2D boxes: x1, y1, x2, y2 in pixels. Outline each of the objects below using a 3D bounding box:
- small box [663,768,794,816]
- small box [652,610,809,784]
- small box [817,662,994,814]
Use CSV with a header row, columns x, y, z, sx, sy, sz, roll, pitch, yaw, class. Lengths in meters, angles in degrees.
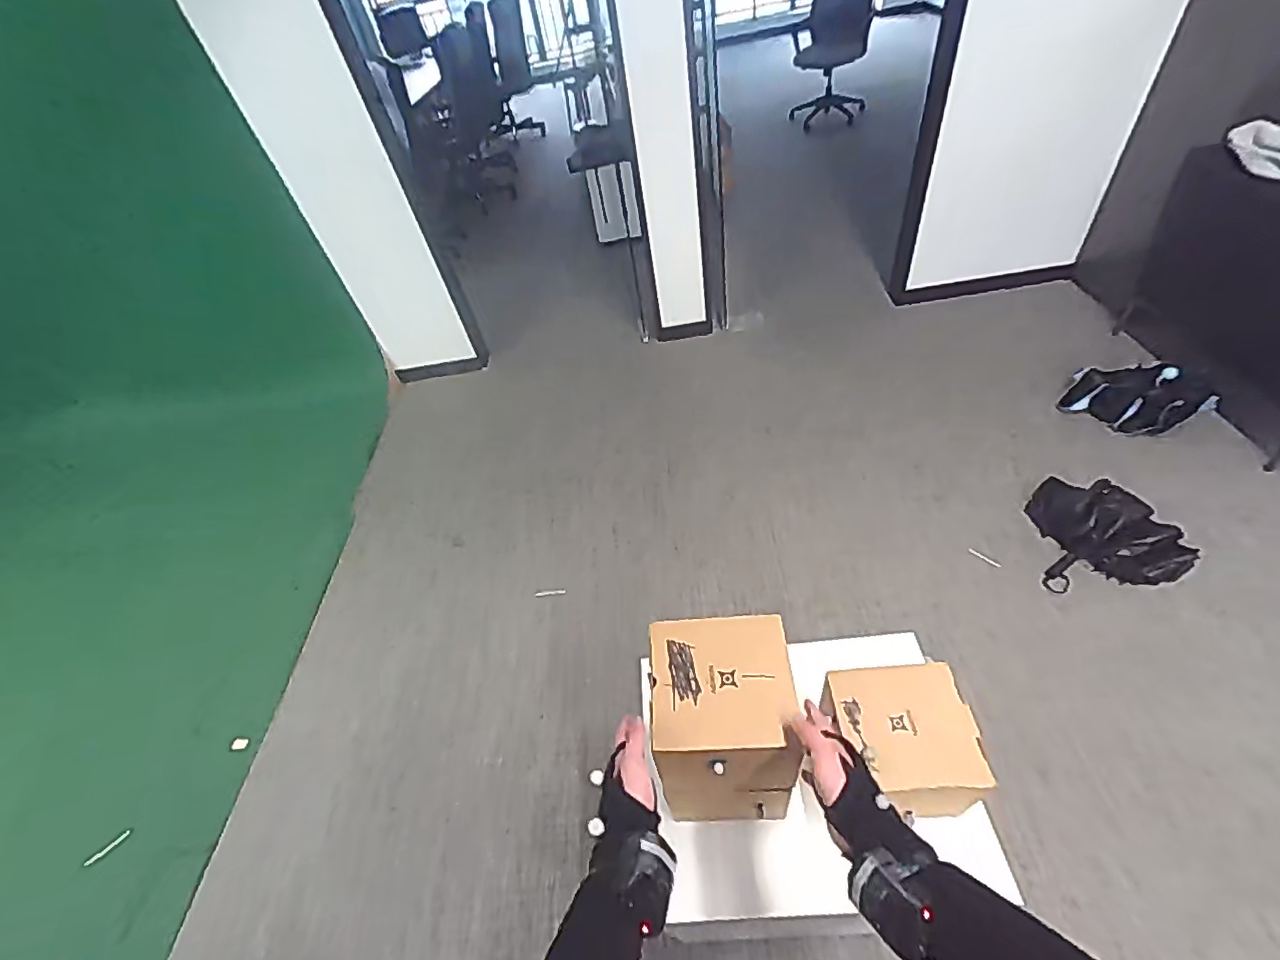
x,y,z,sx,sy,sz,roll,pitch,yaw,class
0.127,0.403,0.829,0.179,0.176,0.168,-6,46,5,small box
0.111,0.288,0.711,0.179,0.176,0.168,-4,47,4,small box
0.375,0.385,0.802,0.179,0.176,0.168,-6,48,6,small box
